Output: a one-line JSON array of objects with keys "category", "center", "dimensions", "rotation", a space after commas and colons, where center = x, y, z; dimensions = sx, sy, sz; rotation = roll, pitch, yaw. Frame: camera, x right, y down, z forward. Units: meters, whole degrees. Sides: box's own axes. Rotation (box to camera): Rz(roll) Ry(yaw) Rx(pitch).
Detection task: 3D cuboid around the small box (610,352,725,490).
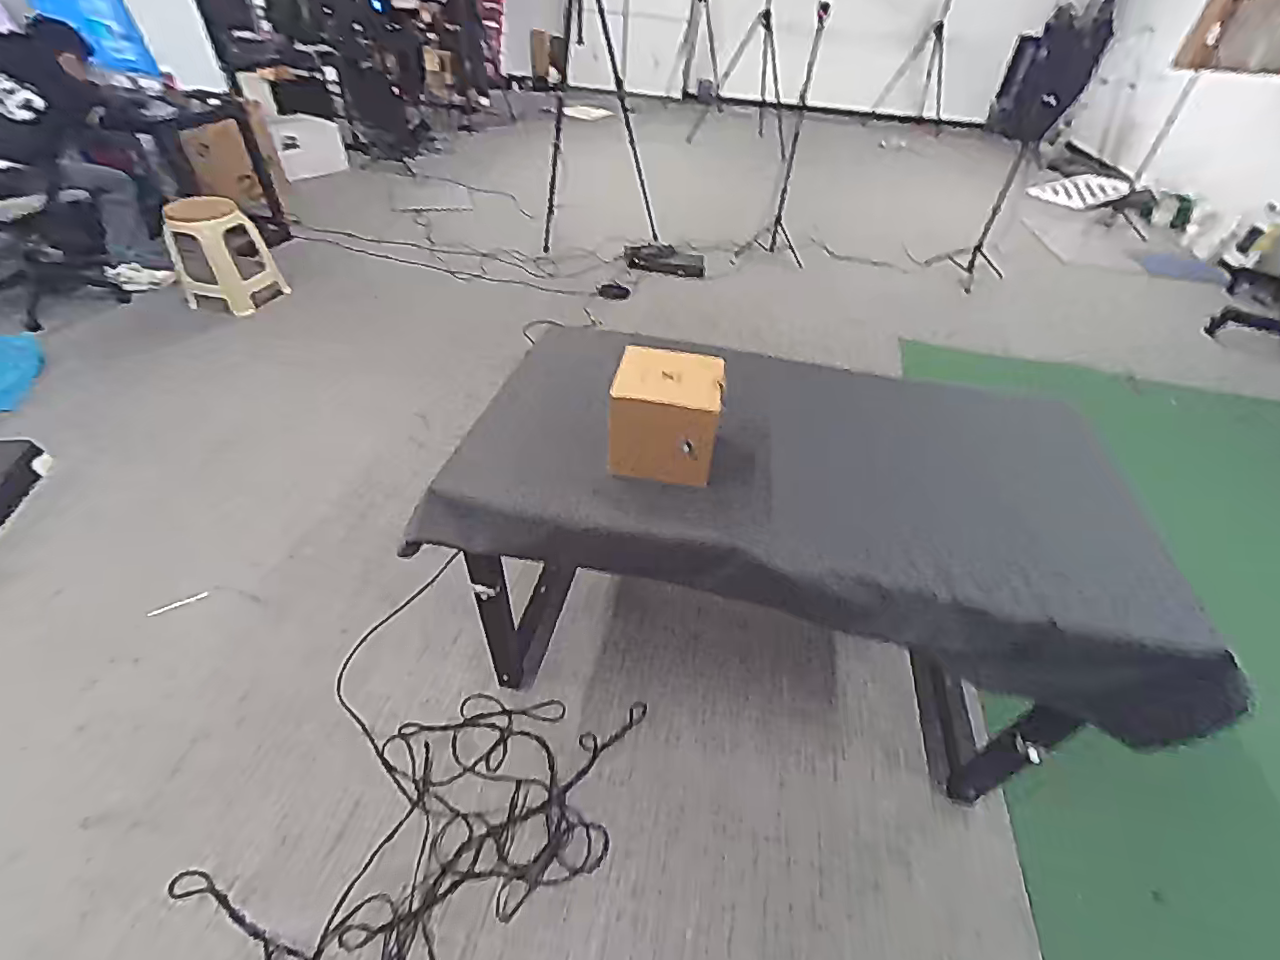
[{"category": "small box", "center": [0.048, -0.101, 0.950], "dimensions": [0.179, 0.176, 0.168], "rotation": [8, 41, 5]}]
